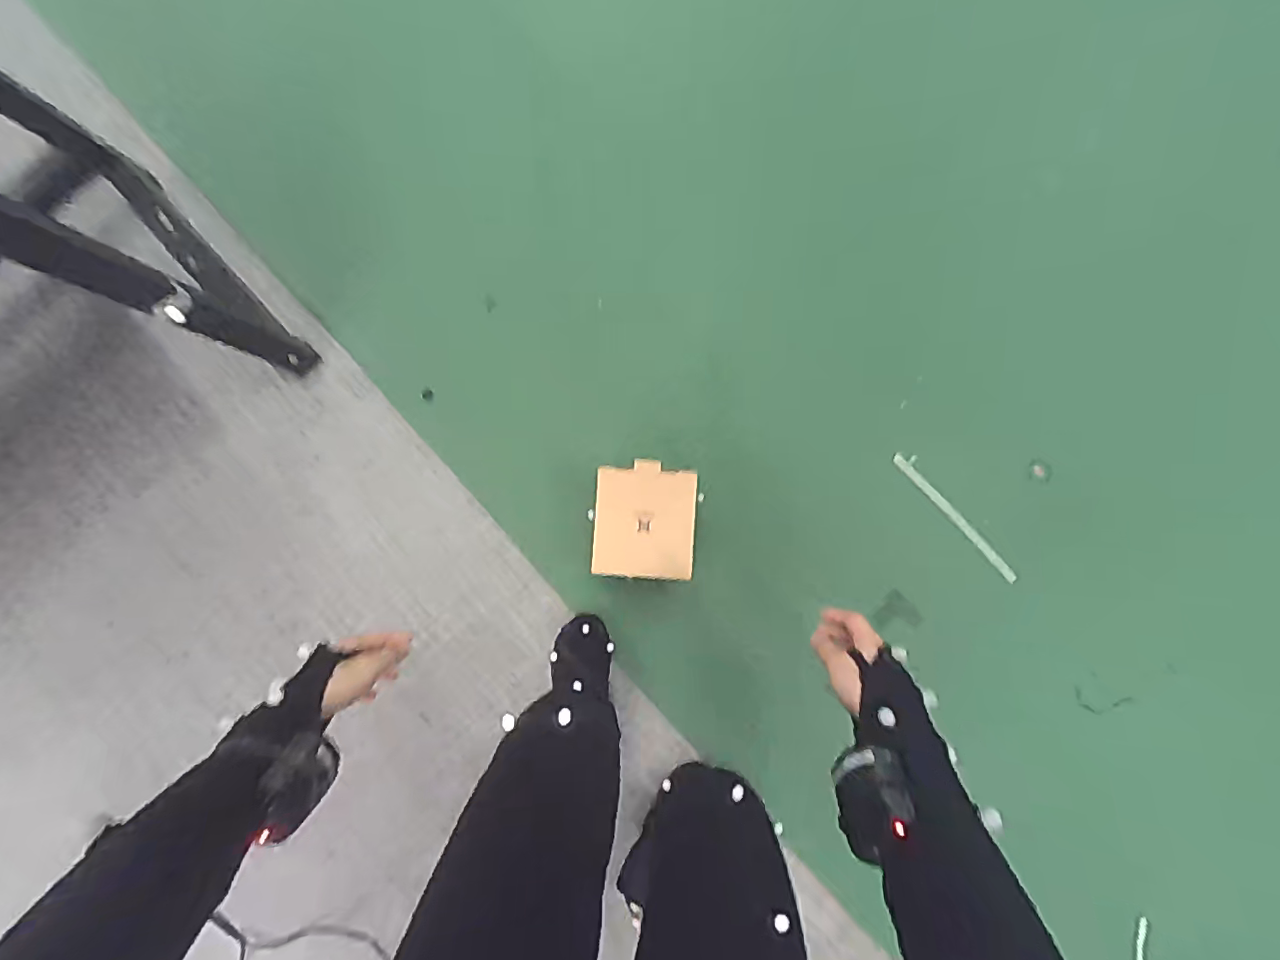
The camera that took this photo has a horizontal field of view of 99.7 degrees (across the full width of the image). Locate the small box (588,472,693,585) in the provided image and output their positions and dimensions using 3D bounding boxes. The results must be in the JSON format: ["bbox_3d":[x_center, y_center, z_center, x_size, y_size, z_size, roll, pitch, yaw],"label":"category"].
[{"bbox_3d":[0.006,0.083,0.958,0.168,0.176,0.179,3,85,3],"label":"small box"}]
